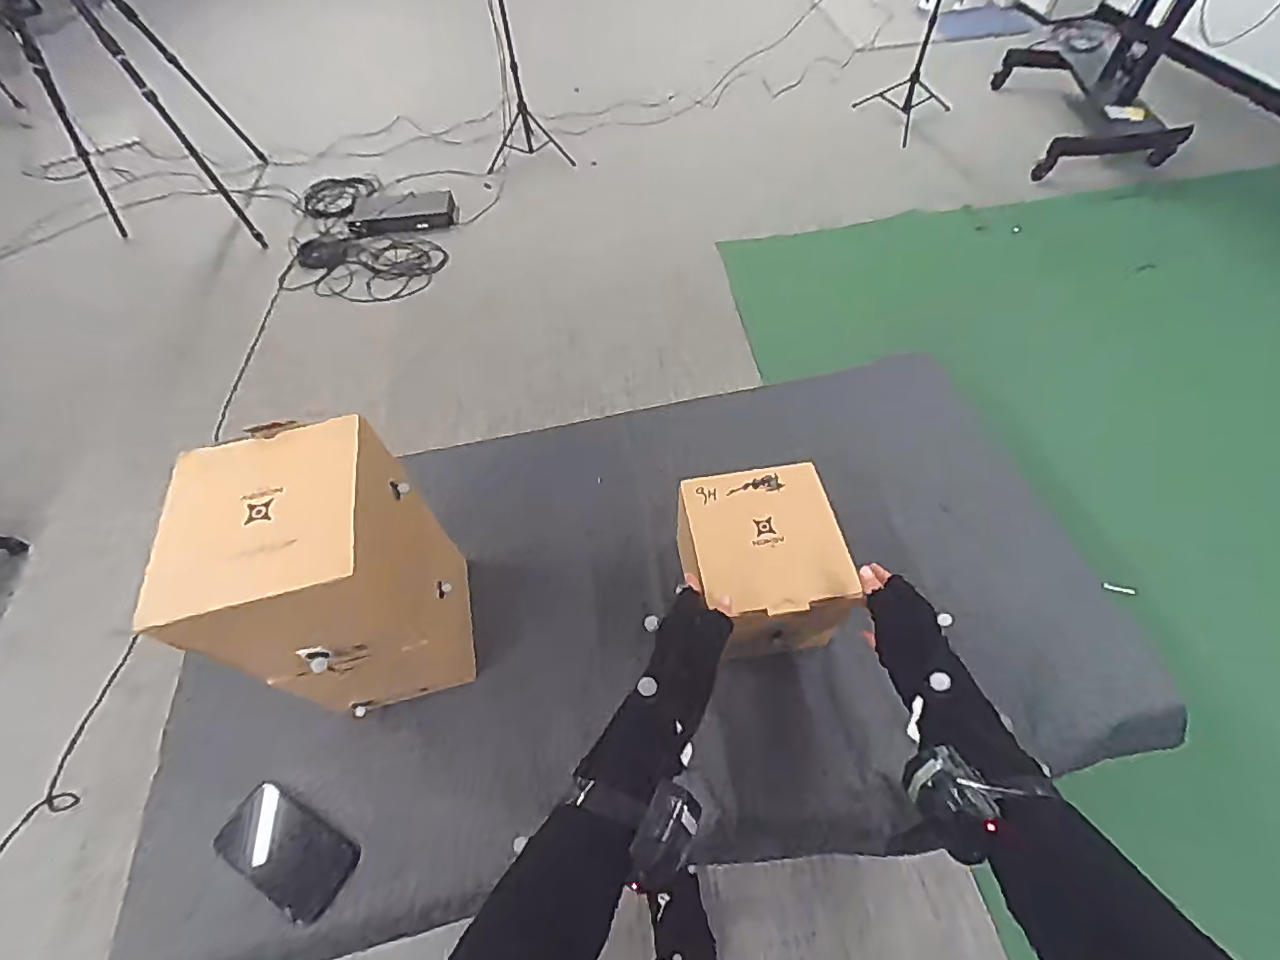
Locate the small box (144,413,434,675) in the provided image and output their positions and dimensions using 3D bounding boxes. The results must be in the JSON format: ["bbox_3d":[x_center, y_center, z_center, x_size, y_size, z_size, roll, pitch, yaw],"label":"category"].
[{"bbox_3d":[-0.314,0.067,0.528,0.168,0.176,0.179,-14,58,-6],"label":"small box"}]

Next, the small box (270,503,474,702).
[{"bbox_3d":[-0.311,0.157,0.662,0.168,0.176,0.179,-13,56,-7],"label":"small box"}]

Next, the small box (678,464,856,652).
[{"bbox_3d":[0.142,0.106,0.676,0.168,0.176,0.179,-8,57,-2],"label":"small box"}]
